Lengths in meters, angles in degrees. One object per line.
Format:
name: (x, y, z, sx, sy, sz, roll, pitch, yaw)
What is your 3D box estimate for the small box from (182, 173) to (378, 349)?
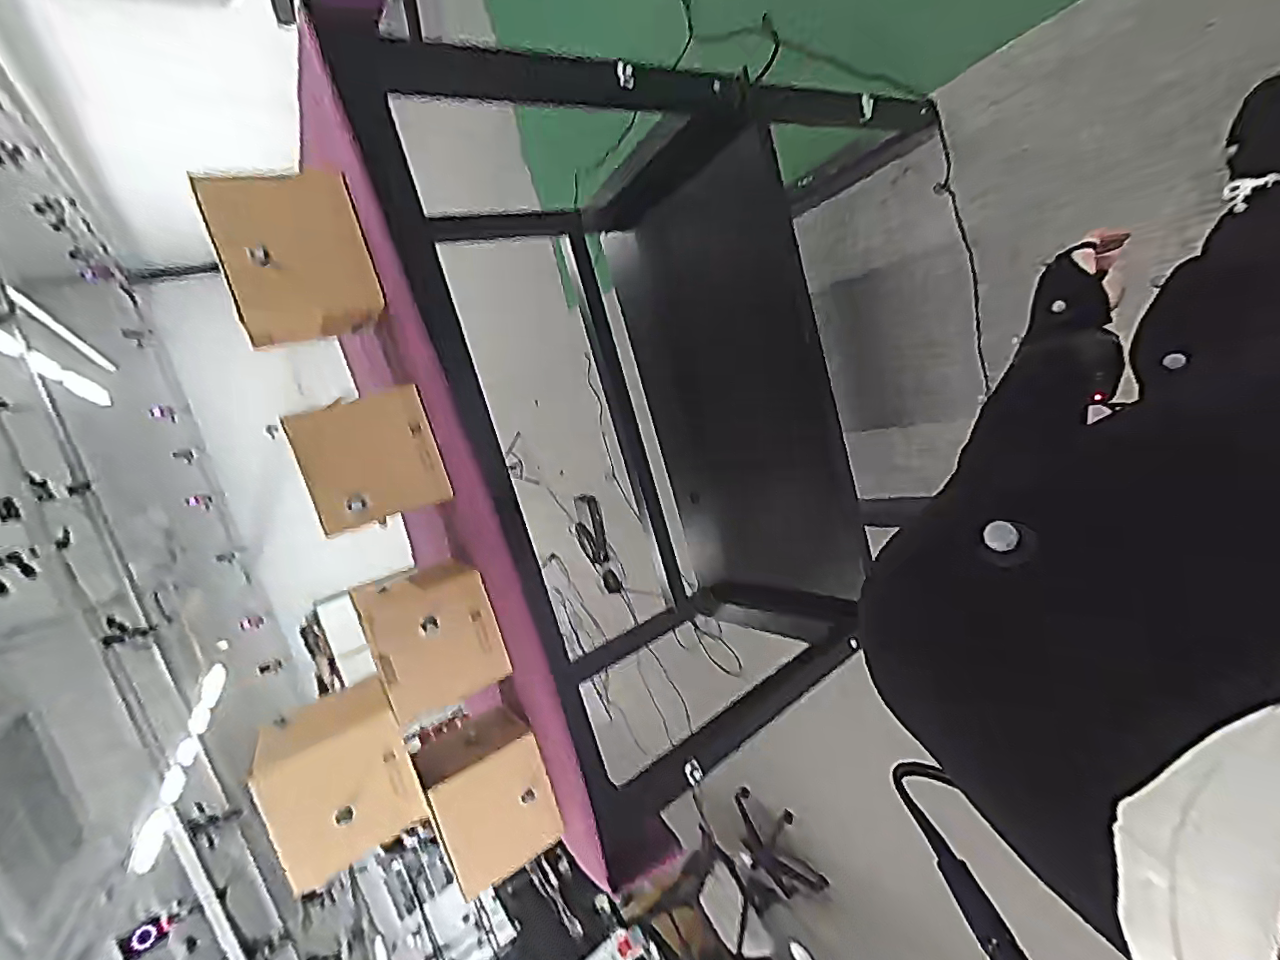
small box: (-0.477, -0.296, 0.740, 0.168, 0.176, 0.179, -3, 105, 58)

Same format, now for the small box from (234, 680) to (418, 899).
small box: (-0.424, 0.404, 0.747, 0.179, 0.176, 0.168, -4, 104, 58)

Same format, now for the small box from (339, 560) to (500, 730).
small box: (-0.327, 0.231, 0.812, 0.179, 0.176, 0.168, 0, 107, 57)

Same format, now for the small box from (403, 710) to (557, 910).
small box: (-0.252, 0.492, 0.843, 0.168, 0.176, 0.179, -8, 99, 58)
